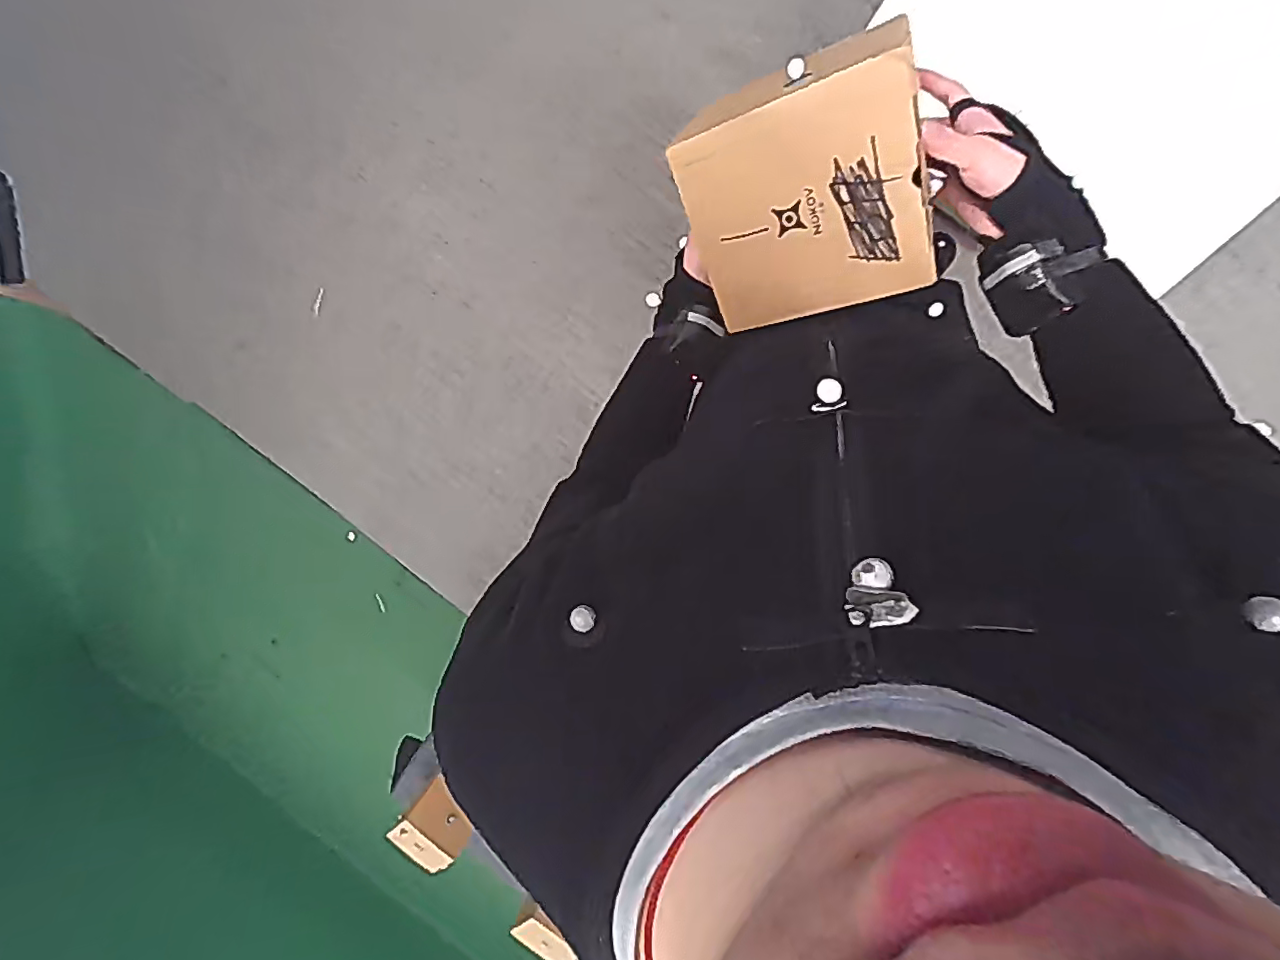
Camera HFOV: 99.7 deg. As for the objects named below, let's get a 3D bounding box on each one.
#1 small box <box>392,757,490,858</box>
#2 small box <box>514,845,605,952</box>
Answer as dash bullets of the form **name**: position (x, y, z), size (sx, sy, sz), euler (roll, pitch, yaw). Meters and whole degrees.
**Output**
- **small box**: position (-0.571, 0.948, 1.570), size (0.179, 0.176, 0.168), euler (42, 123, -4)
- **small box**: position (-0.229, 1.219, 1.580), size (0.179, 0.176, 0.168), euler (37, 122, 1)
